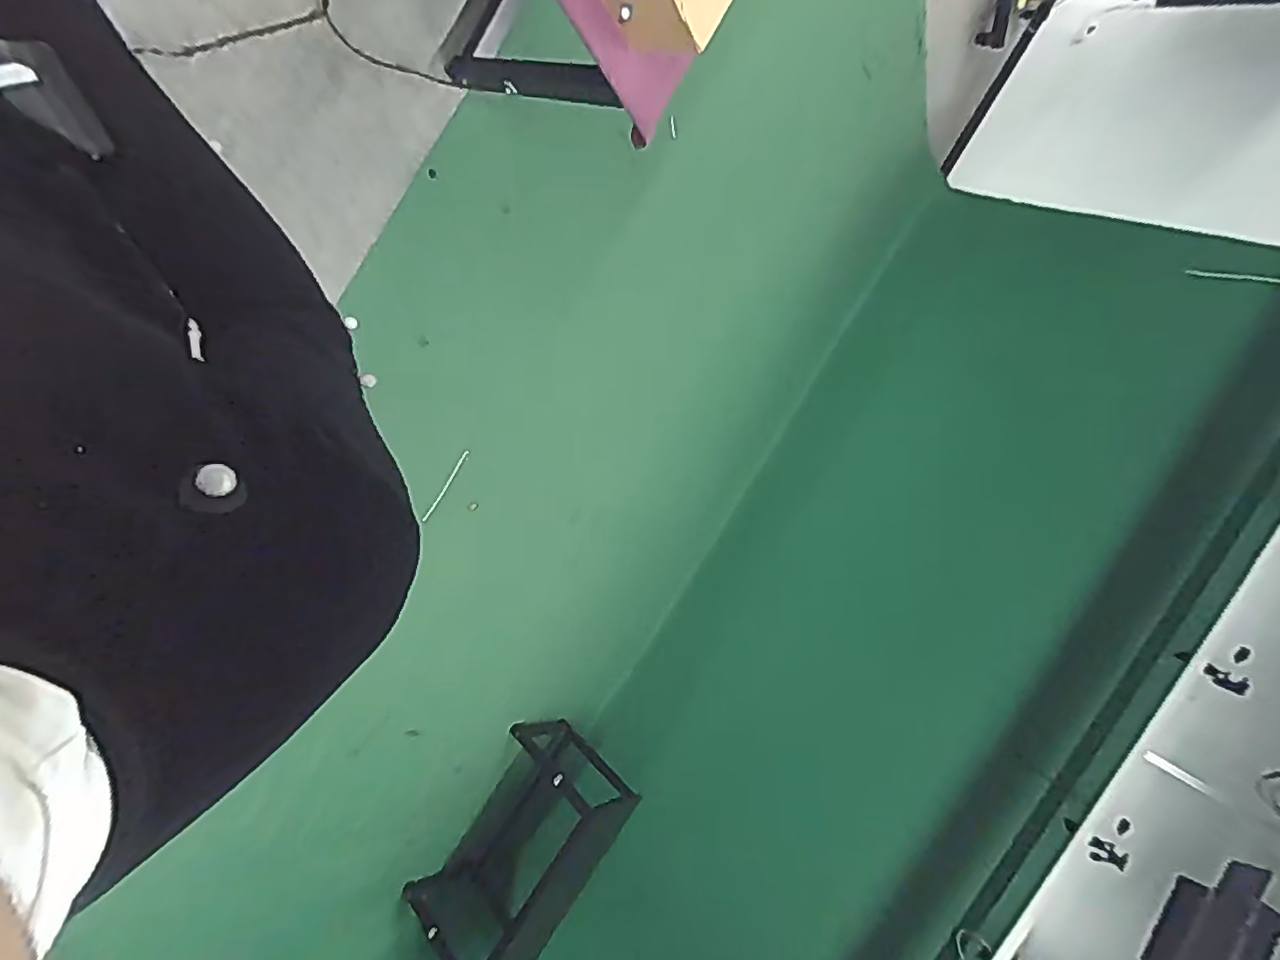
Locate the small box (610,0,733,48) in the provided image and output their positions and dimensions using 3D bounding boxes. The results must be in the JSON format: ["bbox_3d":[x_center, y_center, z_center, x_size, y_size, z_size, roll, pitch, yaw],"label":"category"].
[{"bbox_3d":[0.052,-0.826,0.843,0.179,0.176,0.168,-59,146,4],"label":"small box"}]
